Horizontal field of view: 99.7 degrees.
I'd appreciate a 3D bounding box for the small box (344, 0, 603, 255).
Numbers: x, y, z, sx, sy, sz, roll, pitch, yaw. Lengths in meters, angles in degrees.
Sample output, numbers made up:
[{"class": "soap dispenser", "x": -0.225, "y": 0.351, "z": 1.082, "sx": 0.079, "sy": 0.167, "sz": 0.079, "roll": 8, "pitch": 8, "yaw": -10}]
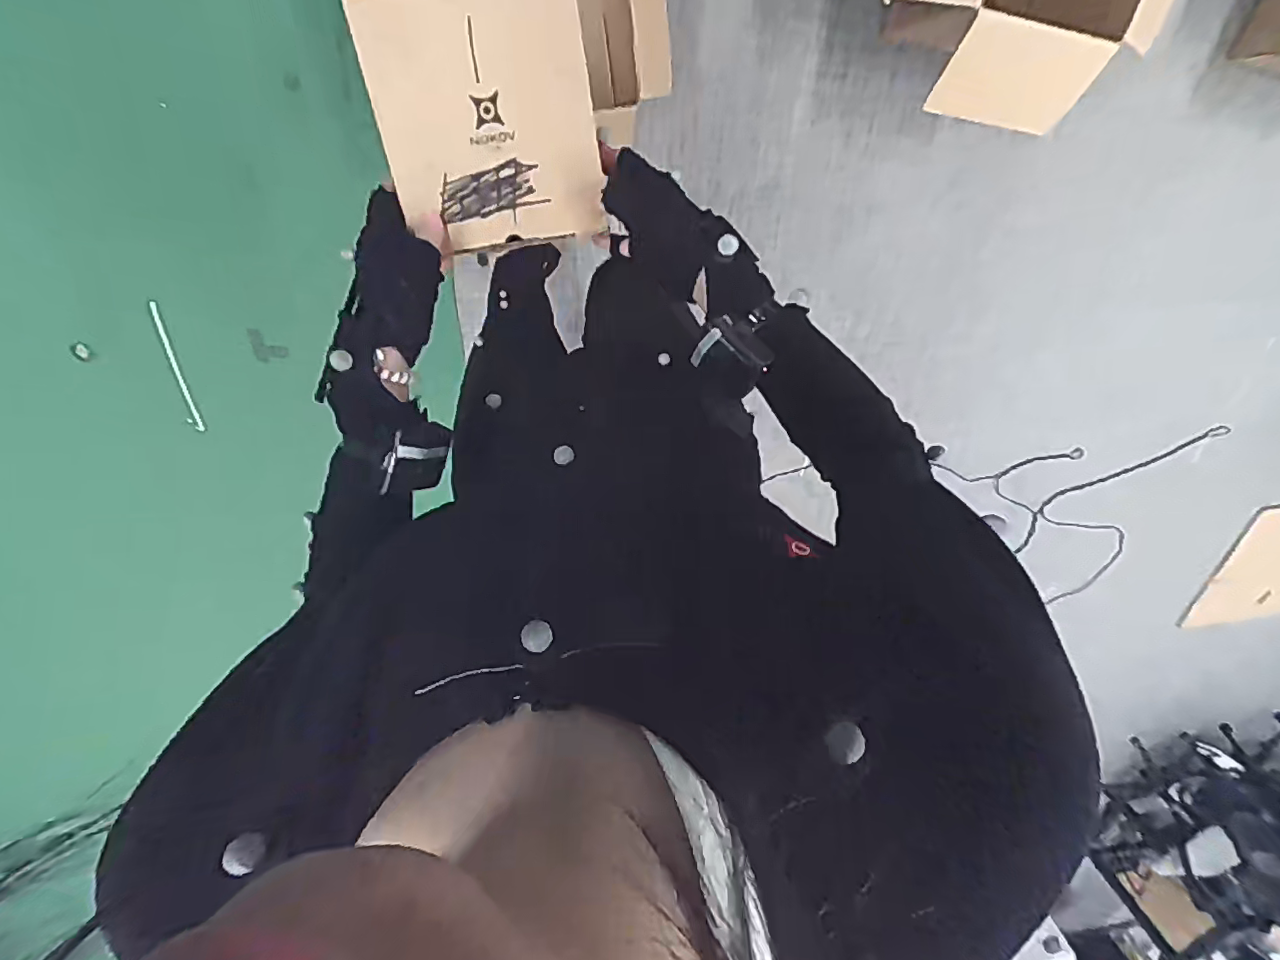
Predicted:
[{"class": "small box", "x": -0.127, "y": -0.312, "z": 0.490, "sx": 0.168, "sy": 0.176, "sz": 0.179, "roll": -9, "pitch": 115, "yaw": -3}]
